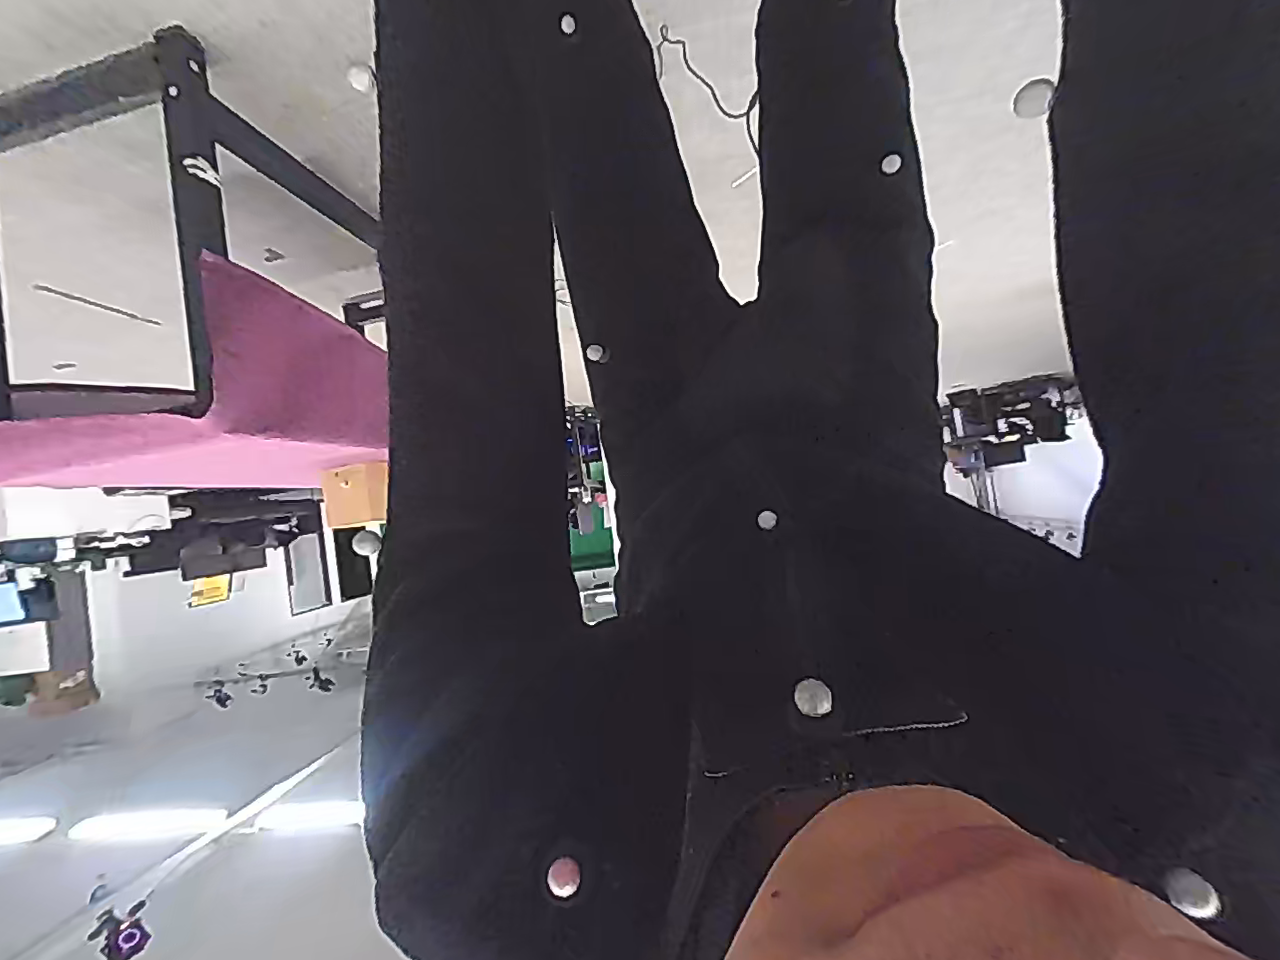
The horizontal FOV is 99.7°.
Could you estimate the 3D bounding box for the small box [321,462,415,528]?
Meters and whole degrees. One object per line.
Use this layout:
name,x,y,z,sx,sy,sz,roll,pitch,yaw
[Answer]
small box,-0.785,0.041,1.564,0.168,0.176,0.179,-9,177,19
